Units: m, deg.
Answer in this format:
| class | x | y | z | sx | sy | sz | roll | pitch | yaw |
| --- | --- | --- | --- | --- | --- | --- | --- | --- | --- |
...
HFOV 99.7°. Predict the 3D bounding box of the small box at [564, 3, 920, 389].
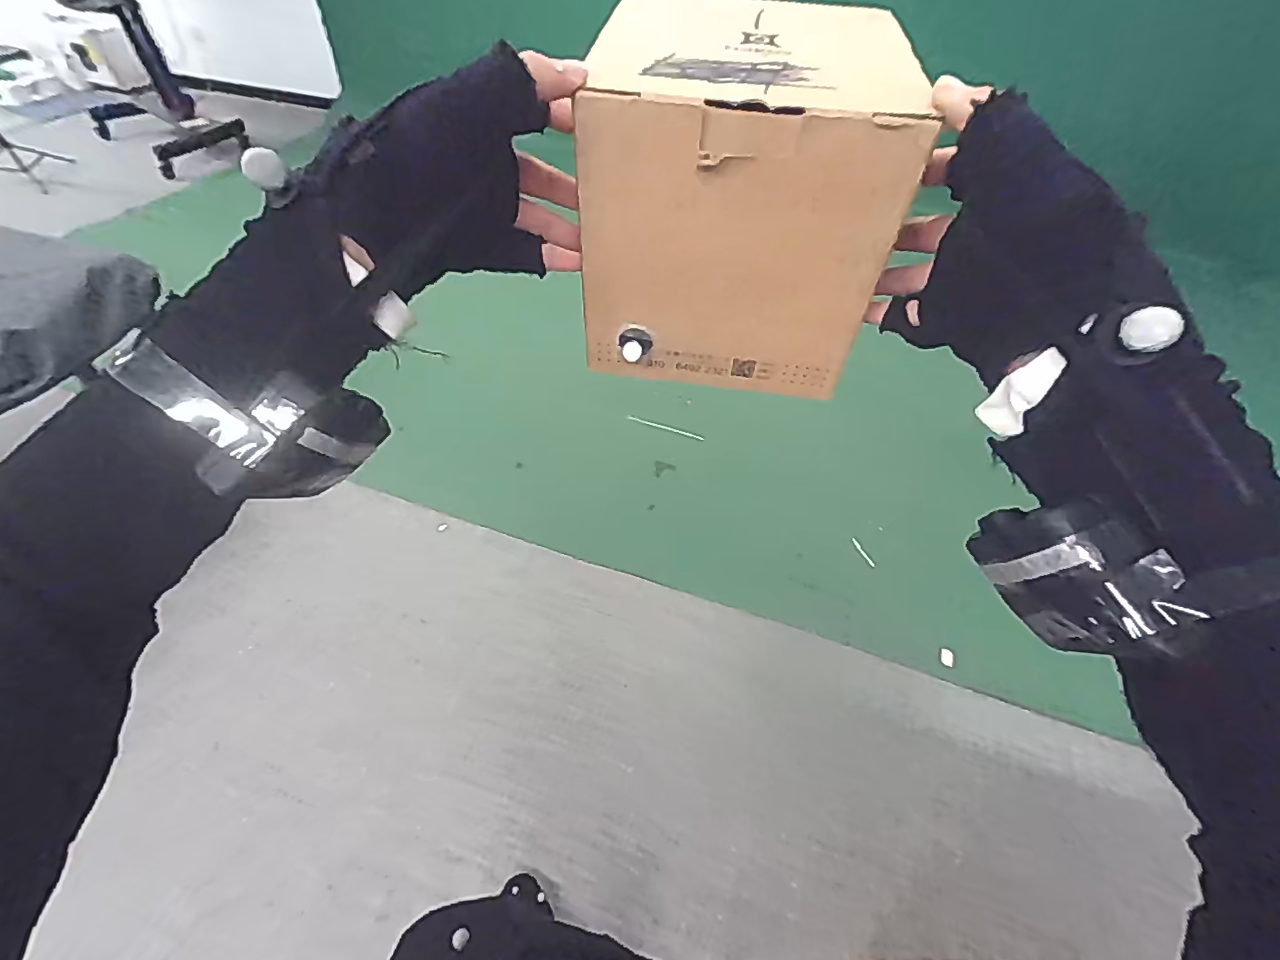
| class | x | y | z | sx | sy | sz | roll | pitch | yaw |
| --- | --- | --- | --- | --- | --- | --- | --- | --- | --- |
| small box | 0.054 | -0.182 | 0.358 | 0.168 | 0.176 | 0.179 | 7 | 52 | 3 |
